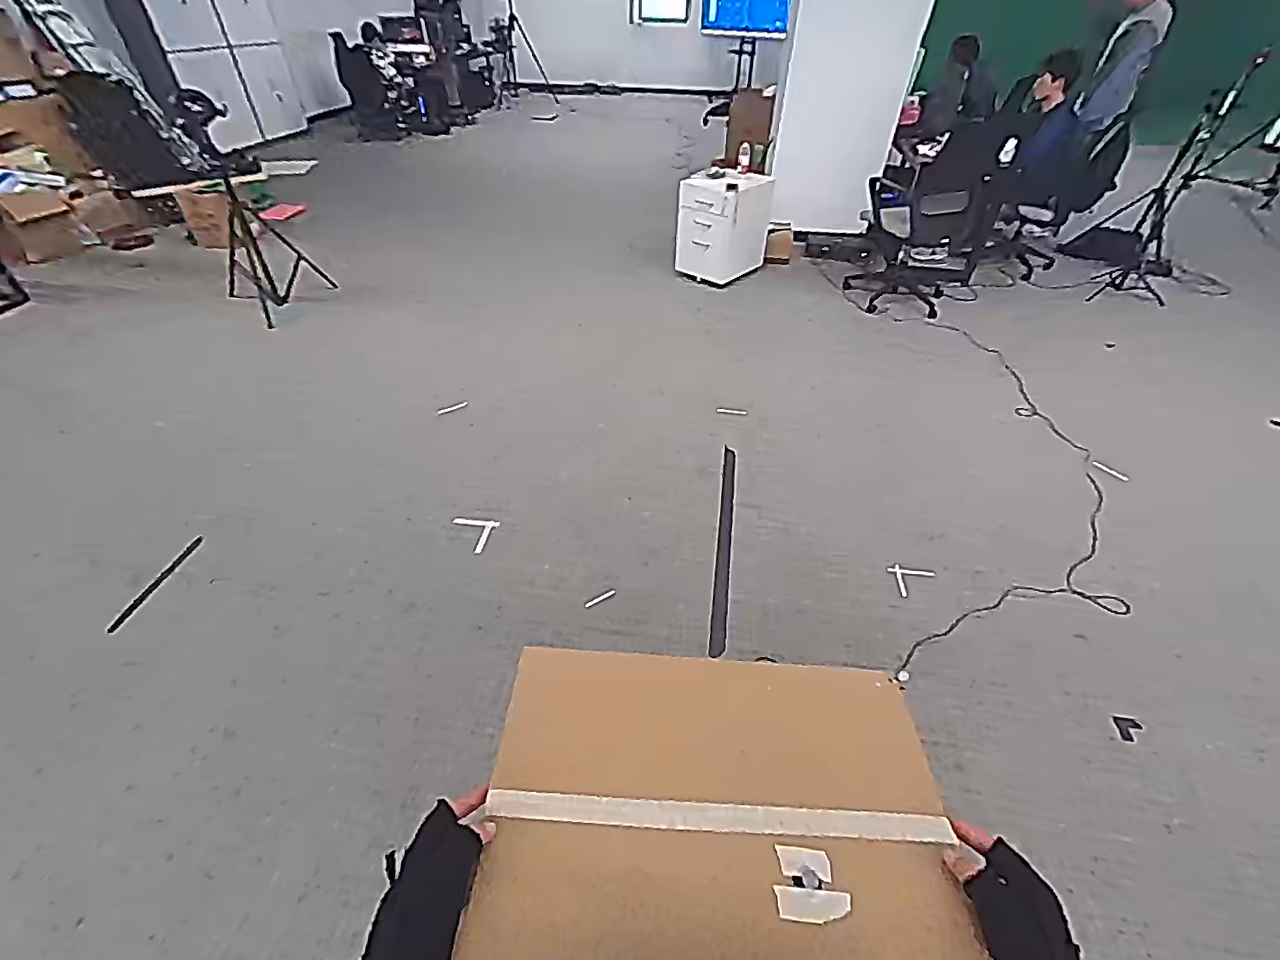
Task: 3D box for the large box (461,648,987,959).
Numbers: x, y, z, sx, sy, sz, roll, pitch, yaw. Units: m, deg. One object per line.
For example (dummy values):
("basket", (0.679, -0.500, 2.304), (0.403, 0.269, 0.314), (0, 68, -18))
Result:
("large box", (0.059, 0.408, 0.572), (0.408, 0.320, 0.320), (4, 40, -1))
